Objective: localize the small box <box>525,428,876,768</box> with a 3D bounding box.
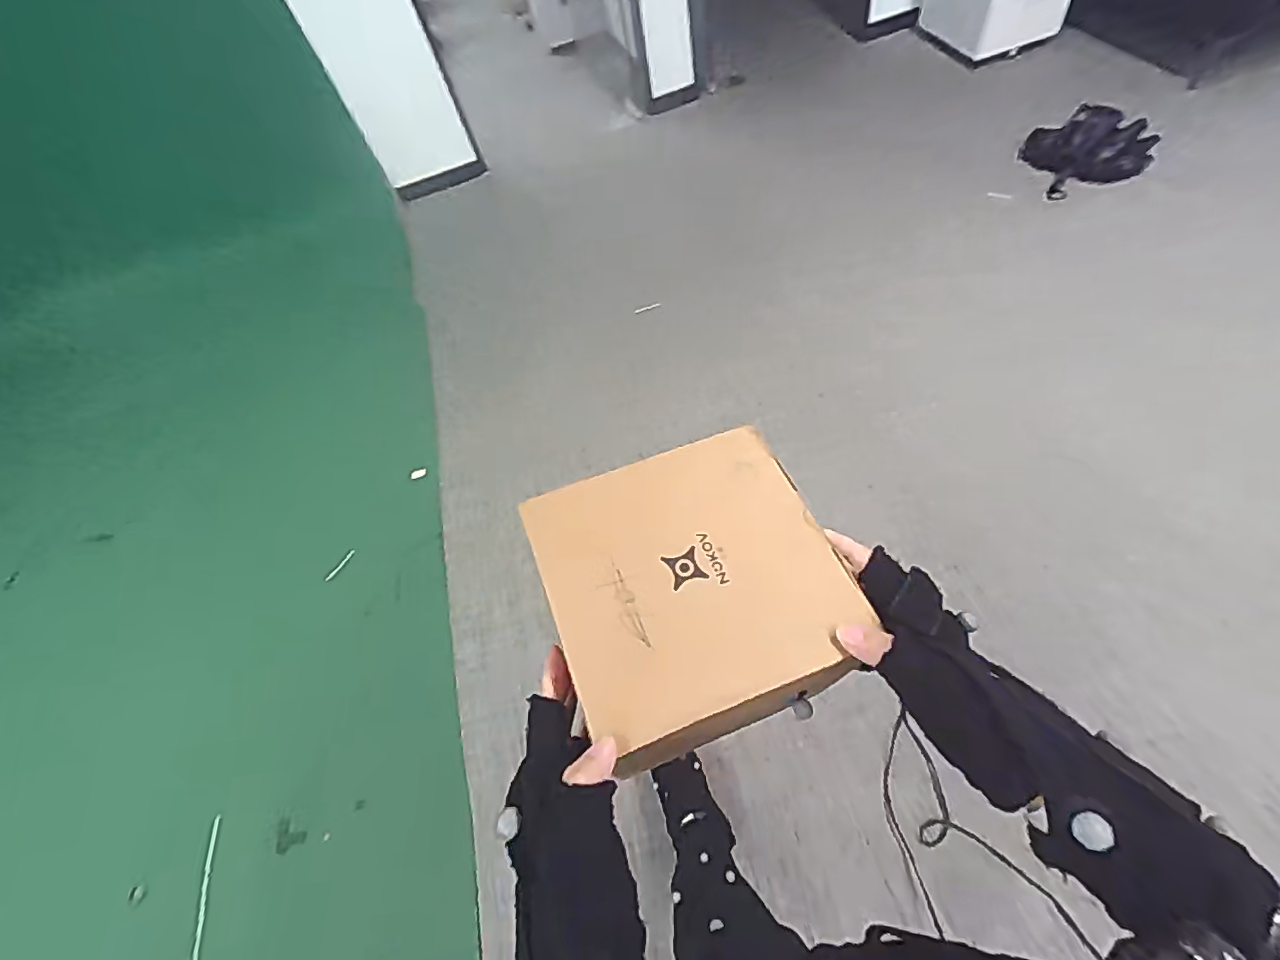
[{"bbox_3d":[0.033,0.095,0.406,0.179,0.176,0.168,-20,59,-8],"label":"small box"}]
